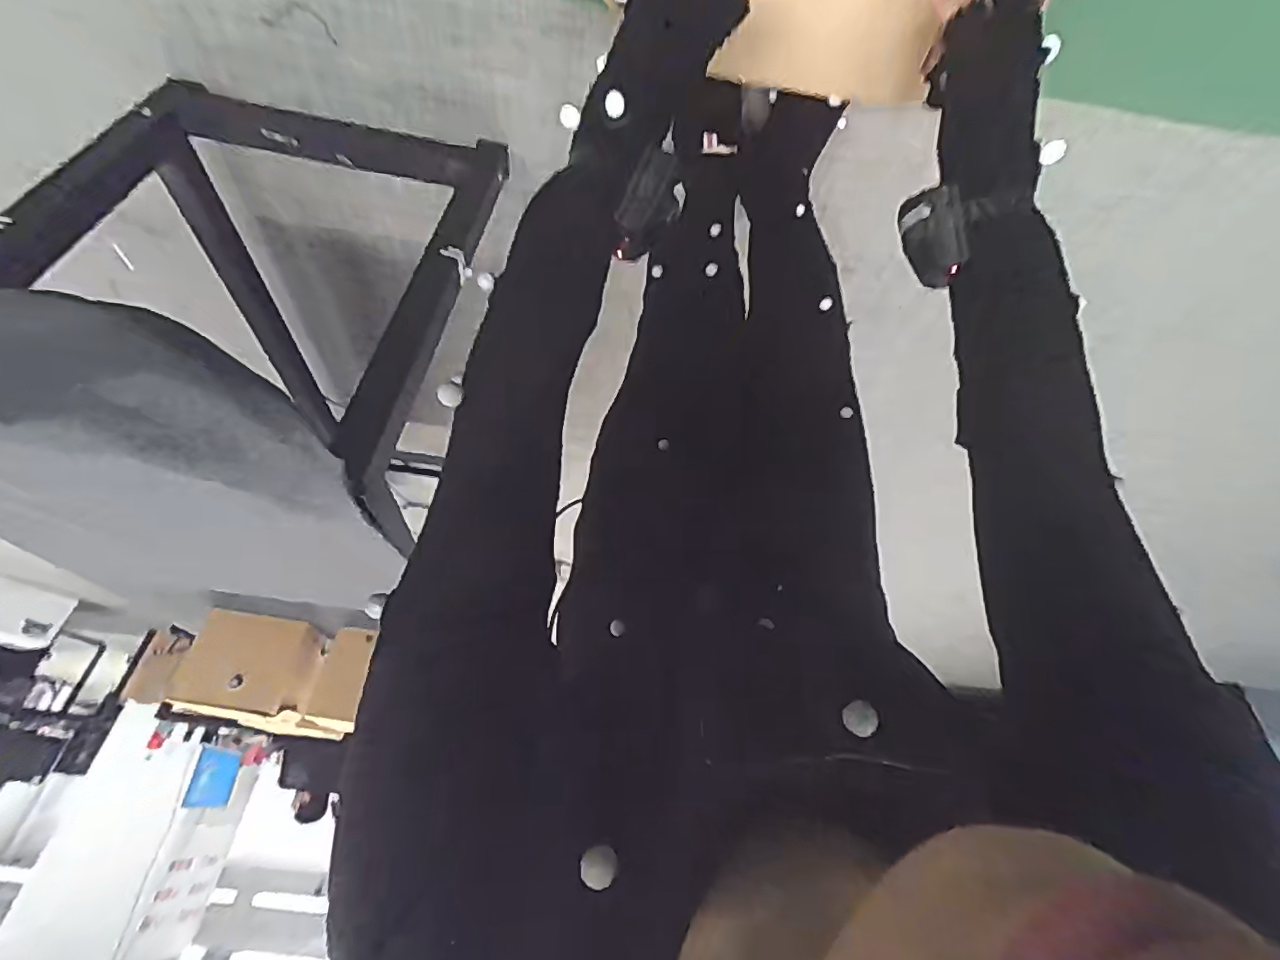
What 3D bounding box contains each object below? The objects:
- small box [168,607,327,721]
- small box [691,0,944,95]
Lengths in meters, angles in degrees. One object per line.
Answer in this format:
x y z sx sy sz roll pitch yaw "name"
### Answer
-0.732 0.356 1.041 0.179 0.176 0.168 12 147 -7 "small box"
0.141 -0.433 0.413 0.179 0.176 0.168 7 144 -5 "small box"
